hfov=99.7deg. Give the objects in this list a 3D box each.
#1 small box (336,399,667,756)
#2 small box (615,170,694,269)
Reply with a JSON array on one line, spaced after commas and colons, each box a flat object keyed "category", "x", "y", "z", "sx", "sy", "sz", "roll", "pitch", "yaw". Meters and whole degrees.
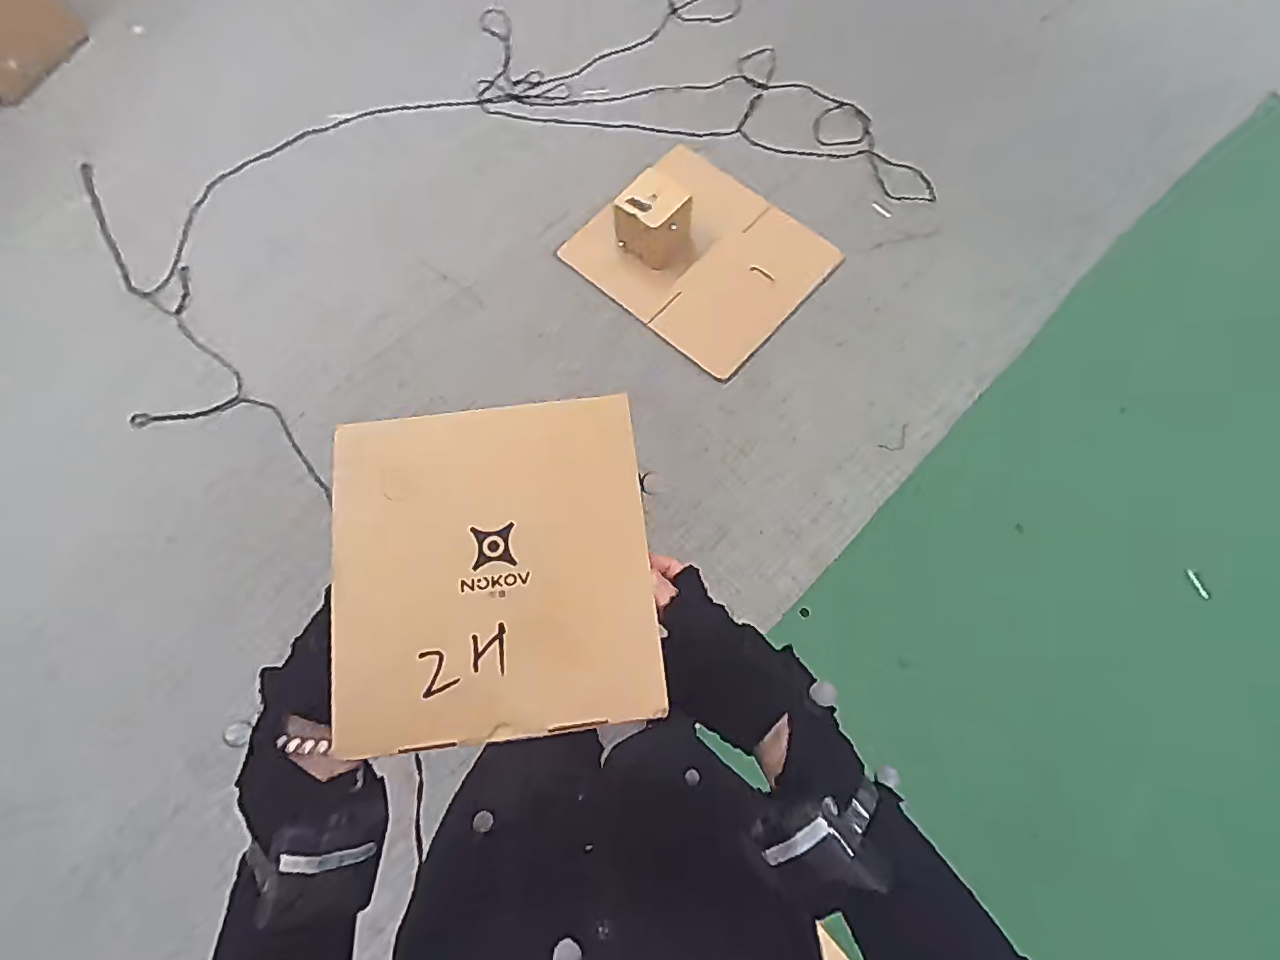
[{"category": "small box", "x": -0.079, "y": 0.063, "z": 0.366, "sx": 0.168, "sy": 0.176, "sz": 0.179, "roll": -7, "pitch": 77, "yaw": -3}, {"category": "small box", "x": 0.045, "y": -0.782, "z": 1.639, "sx": 0.168, "sy": 0.176, "sz": 0.179, "roll": 39, "pitch": 76, "yaw": 13}]
